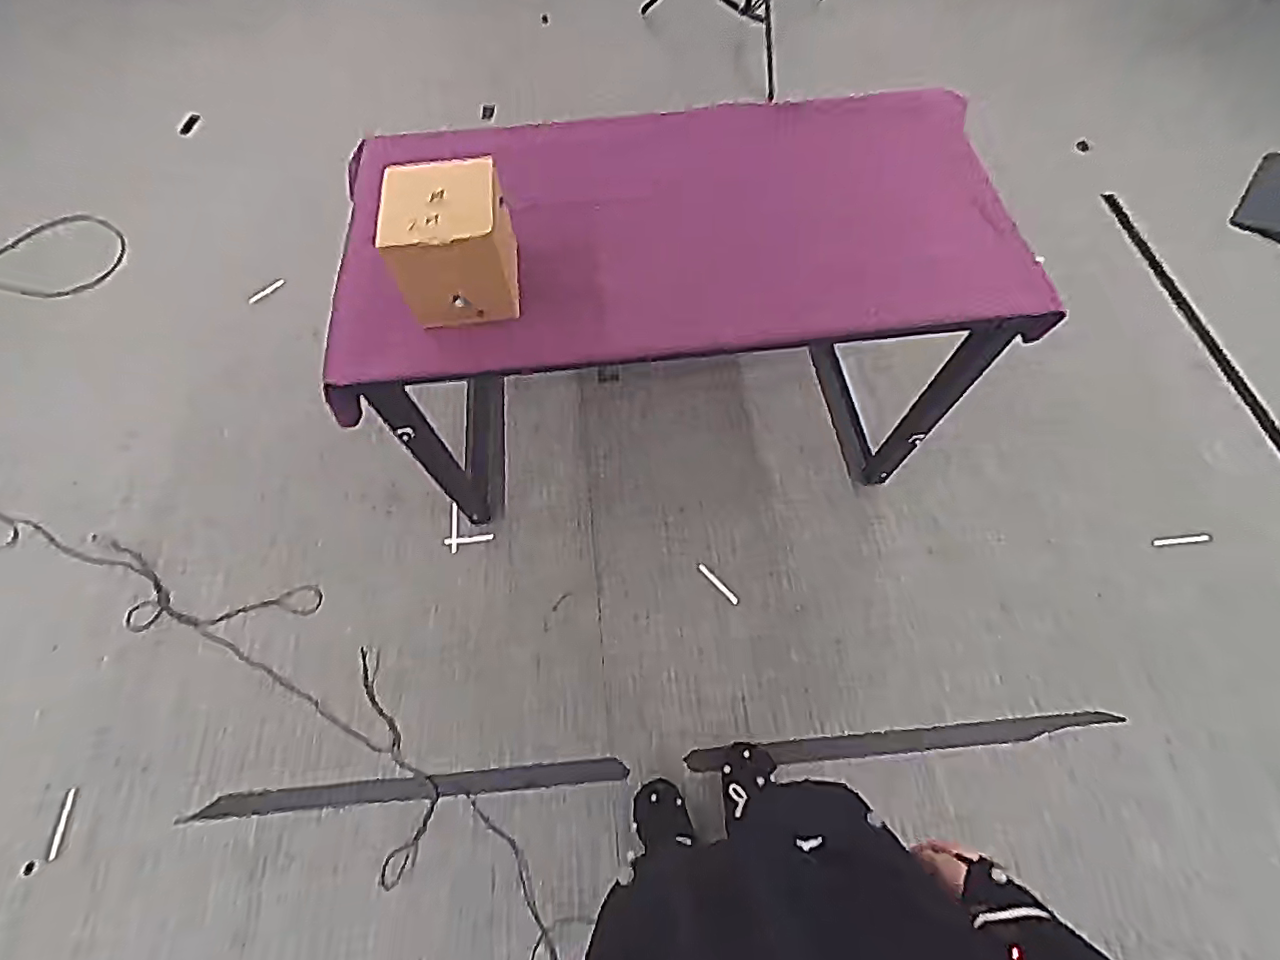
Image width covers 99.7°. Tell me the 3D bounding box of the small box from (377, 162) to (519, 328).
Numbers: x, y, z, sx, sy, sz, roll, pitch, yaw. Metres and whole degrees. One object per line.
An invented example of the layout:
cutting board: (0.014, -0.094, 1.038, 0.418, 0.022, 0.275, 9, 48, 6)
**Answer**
small box: (-0.295, -0.371, 0.866, 0.168, 0.176, 0.179, -7, 64, -1)
